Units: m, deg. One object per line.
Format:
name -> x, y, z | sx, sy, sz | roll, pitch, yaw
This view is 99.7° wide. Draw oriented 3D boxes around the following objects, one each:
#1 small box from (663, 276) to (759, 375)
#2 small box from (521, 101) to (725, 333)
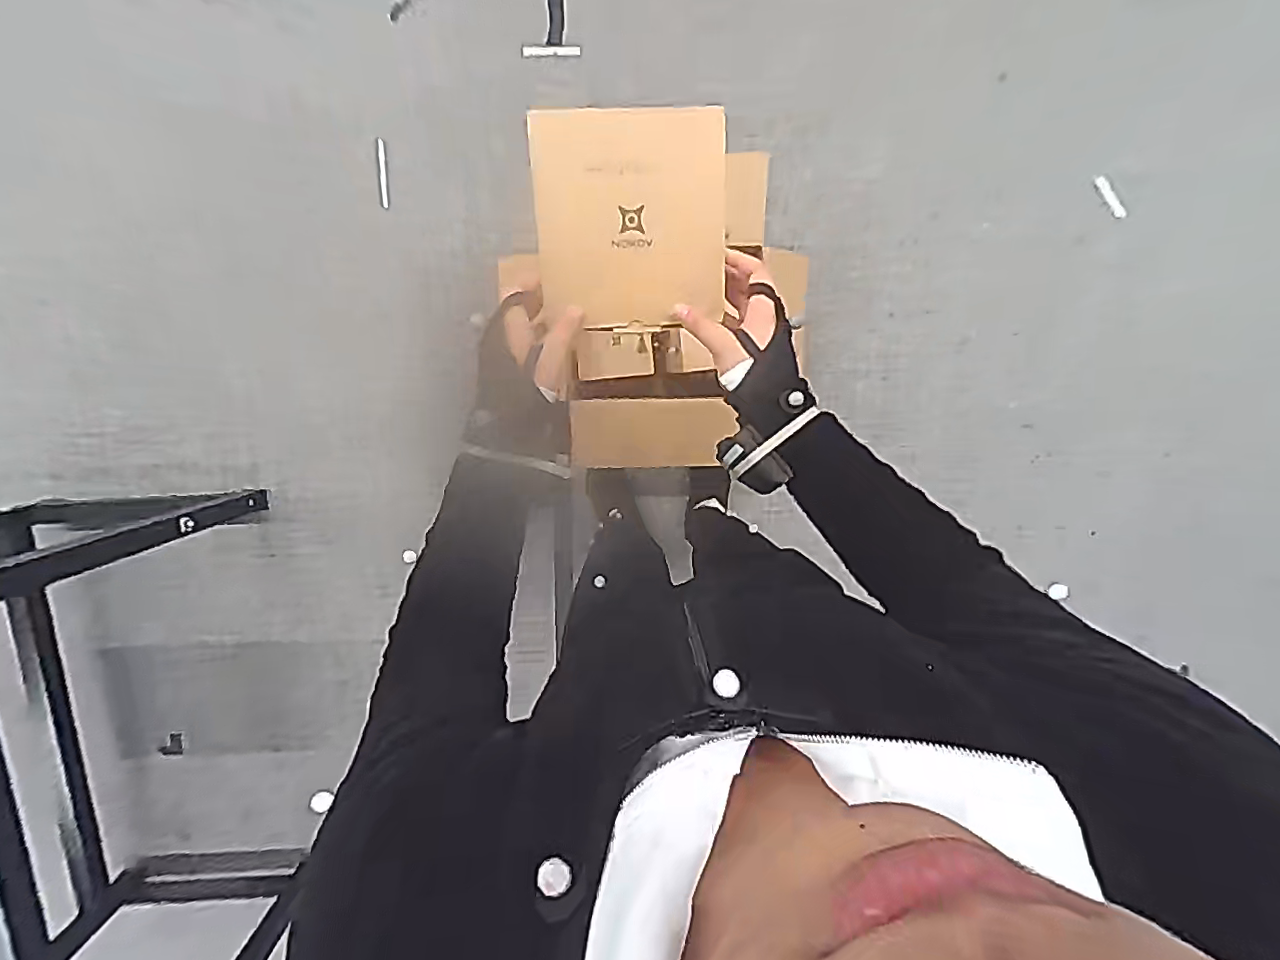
small box -> 0.142, -0.317, 1.133 | 0.168, 0.176, 0.179 | -8, 100, -4
small box -> -0.017, -0.242, 0.531 | 0.168, 0.176, 0.179 | -5, 107, -5
